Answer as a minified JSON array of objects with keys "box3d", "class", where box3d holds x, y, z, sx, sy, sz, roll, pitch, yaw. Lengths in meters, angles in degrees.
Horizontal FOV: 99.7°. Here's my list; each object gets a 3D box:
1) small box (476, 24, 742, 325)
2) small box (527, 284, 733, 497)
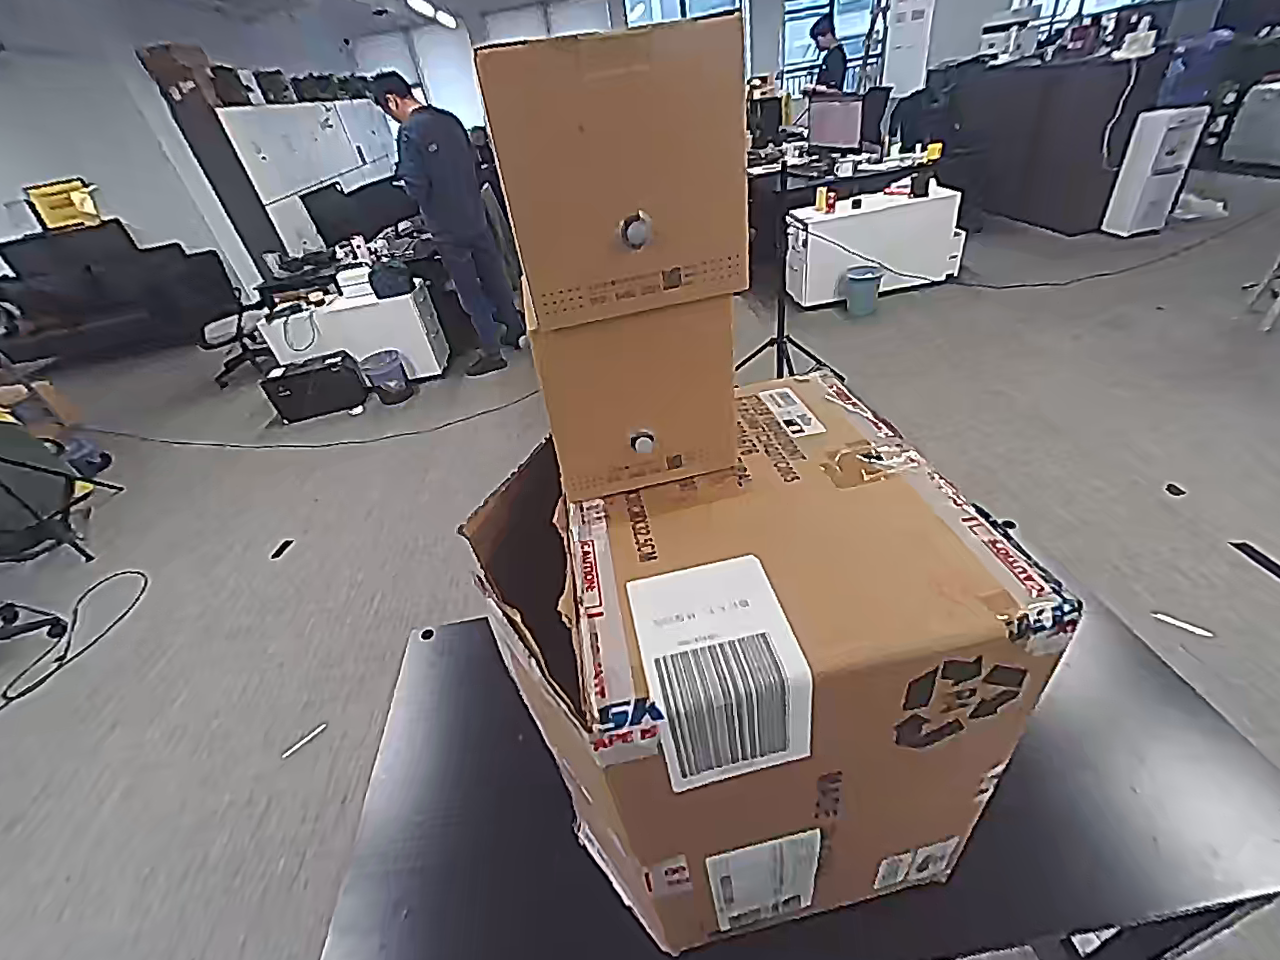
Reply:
[{"box3d":[-0.026,-0.239,0.438,0.168,0.176,0.179,-14,35,-7],"class":"small box"},{"box3d":[-0.013,-0.108,0.538,0.168,0.176,0.179,-12,35,-5],"class":"small box"}]
